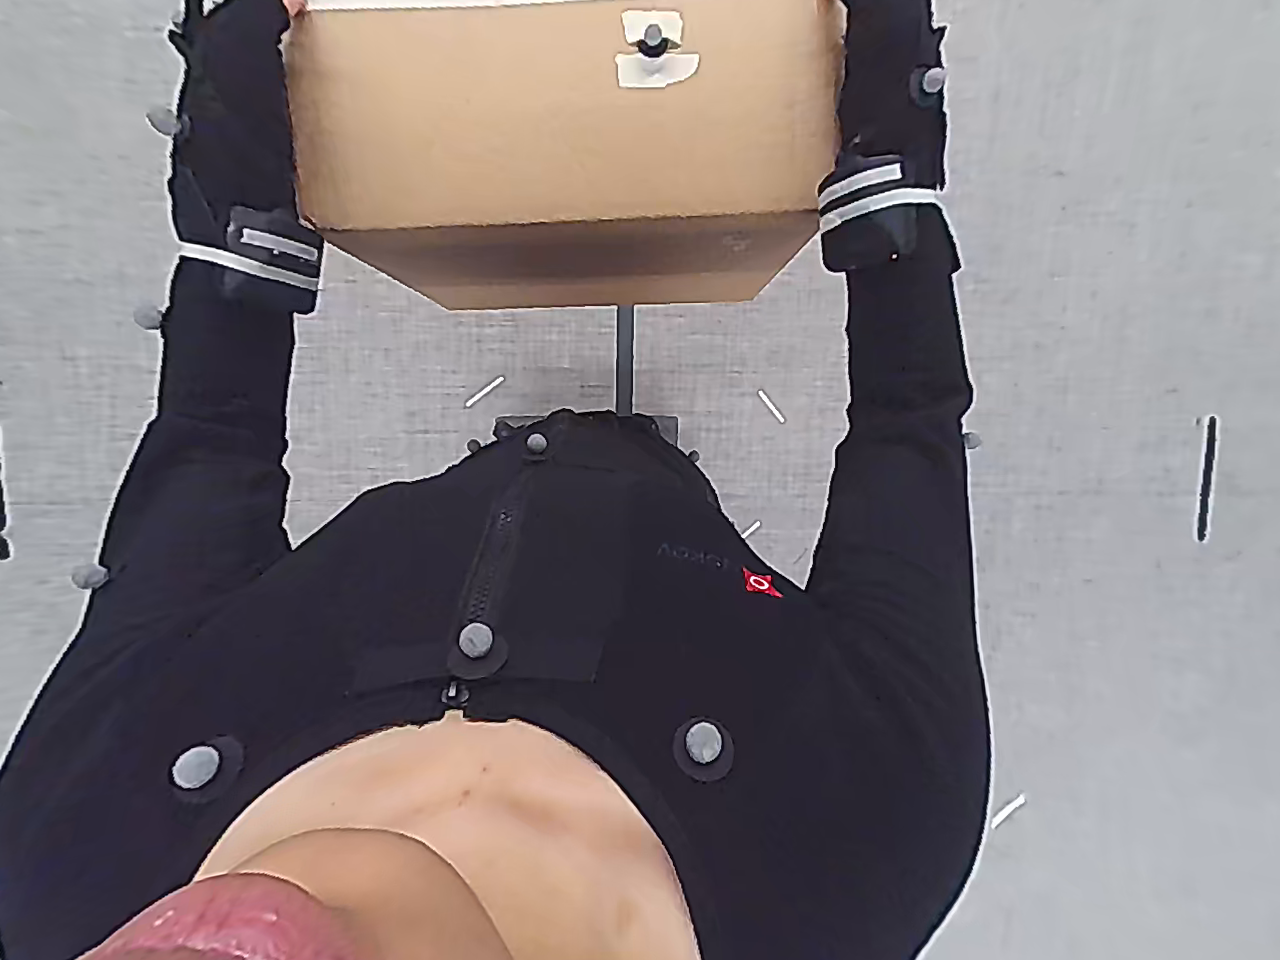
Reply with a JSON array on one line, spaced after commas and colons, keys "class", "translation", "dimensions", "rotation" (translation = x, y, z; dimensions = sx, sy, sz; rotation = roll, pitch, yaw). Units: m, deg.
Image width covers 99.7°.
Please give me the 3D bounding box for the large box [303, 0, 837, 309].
[{"class": "large box", "translation": [-0.056, -0.372, 0.550], "dimensions": [0.408, 0.320, 0.320], "rotation": [-2, 97, 0]}]
